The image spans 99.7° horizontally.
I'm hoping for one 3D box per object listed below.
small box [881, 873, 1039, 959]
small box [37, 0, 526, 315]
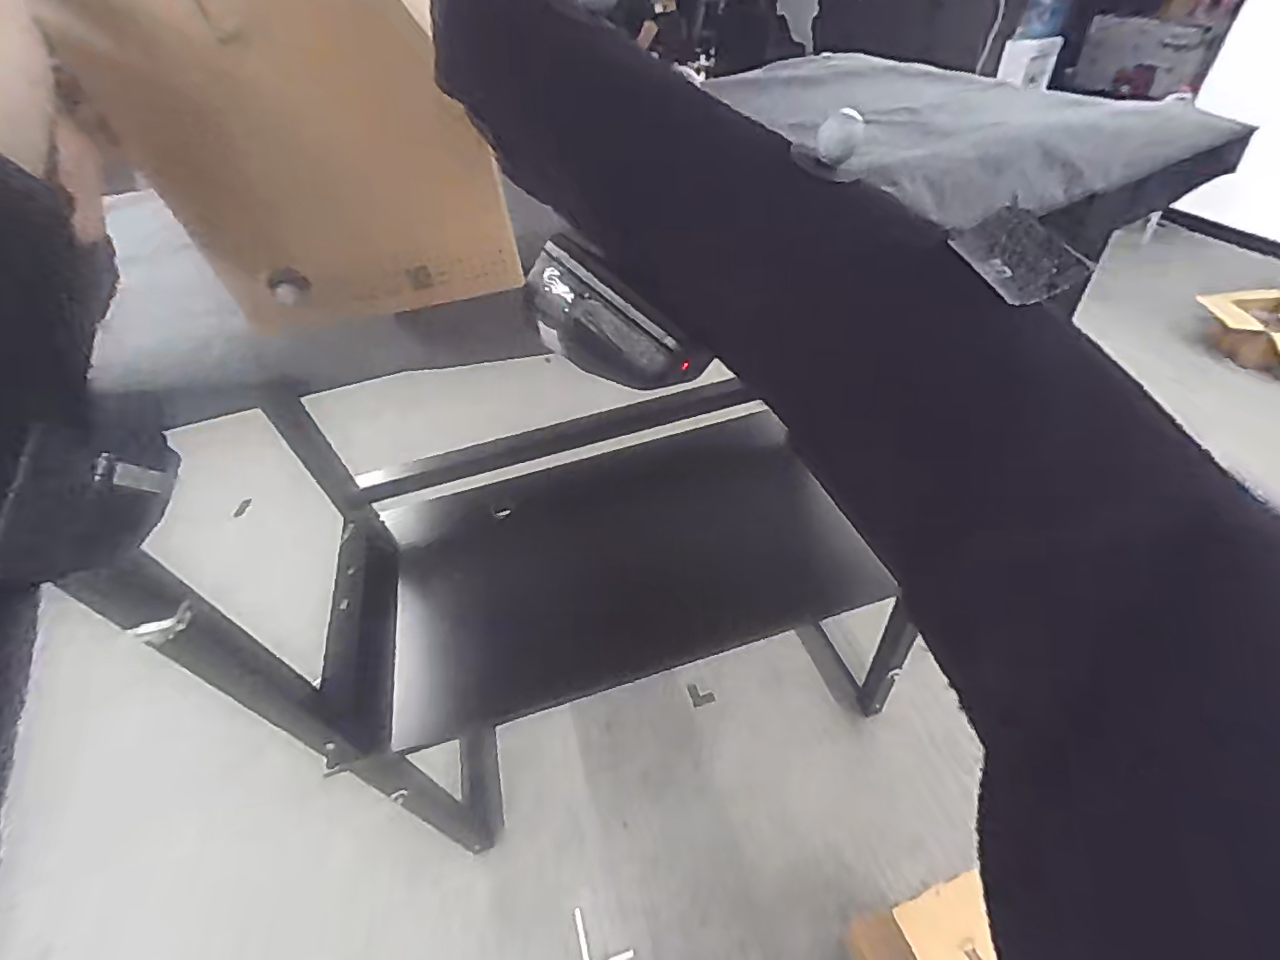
[{"bbox_3d":[0.527,0.786,0.882,0.168,0.176,0.179,-19,45,-9],"label":"small box"},{"bbox_3d":[-0.177,-0.220,0.335,0.168,0.176,0.179,-15,49,-7],"label":"small box"}]
